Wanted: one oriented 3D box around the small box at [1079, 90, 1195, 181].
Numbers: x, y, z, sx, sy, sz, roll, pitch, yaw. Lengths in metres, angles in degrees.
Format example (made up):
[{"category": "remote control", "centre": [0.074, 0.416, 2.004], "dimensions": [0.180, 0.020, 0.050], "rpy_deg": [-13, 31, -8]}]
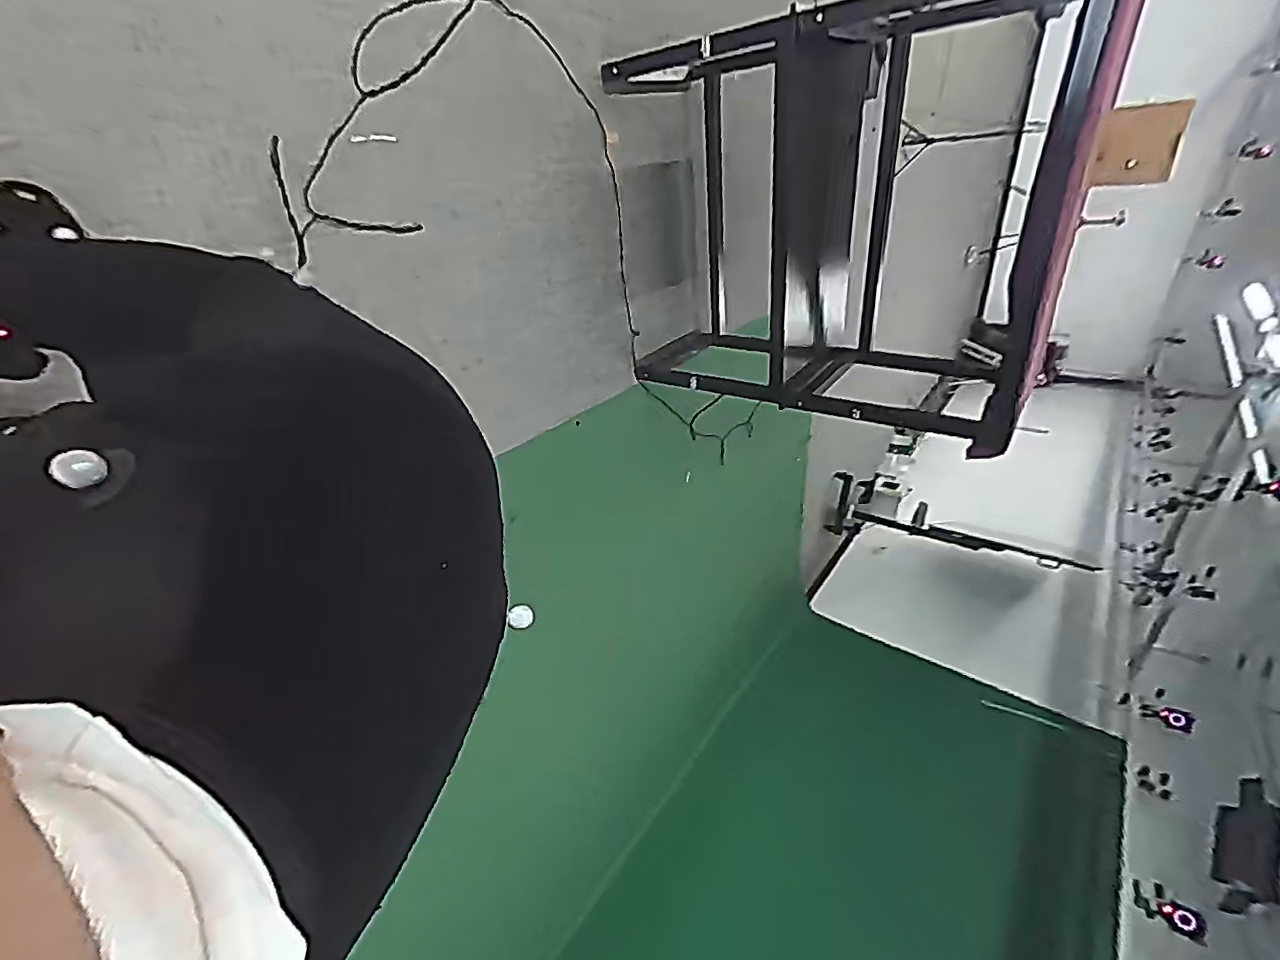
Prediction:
[{"category": "small box", "centre": [1.189, -0.825, 1.306], "dimensions": [0.179, 0.176, 0.168], "rpy_deg": [-37, 132, -42]}]
